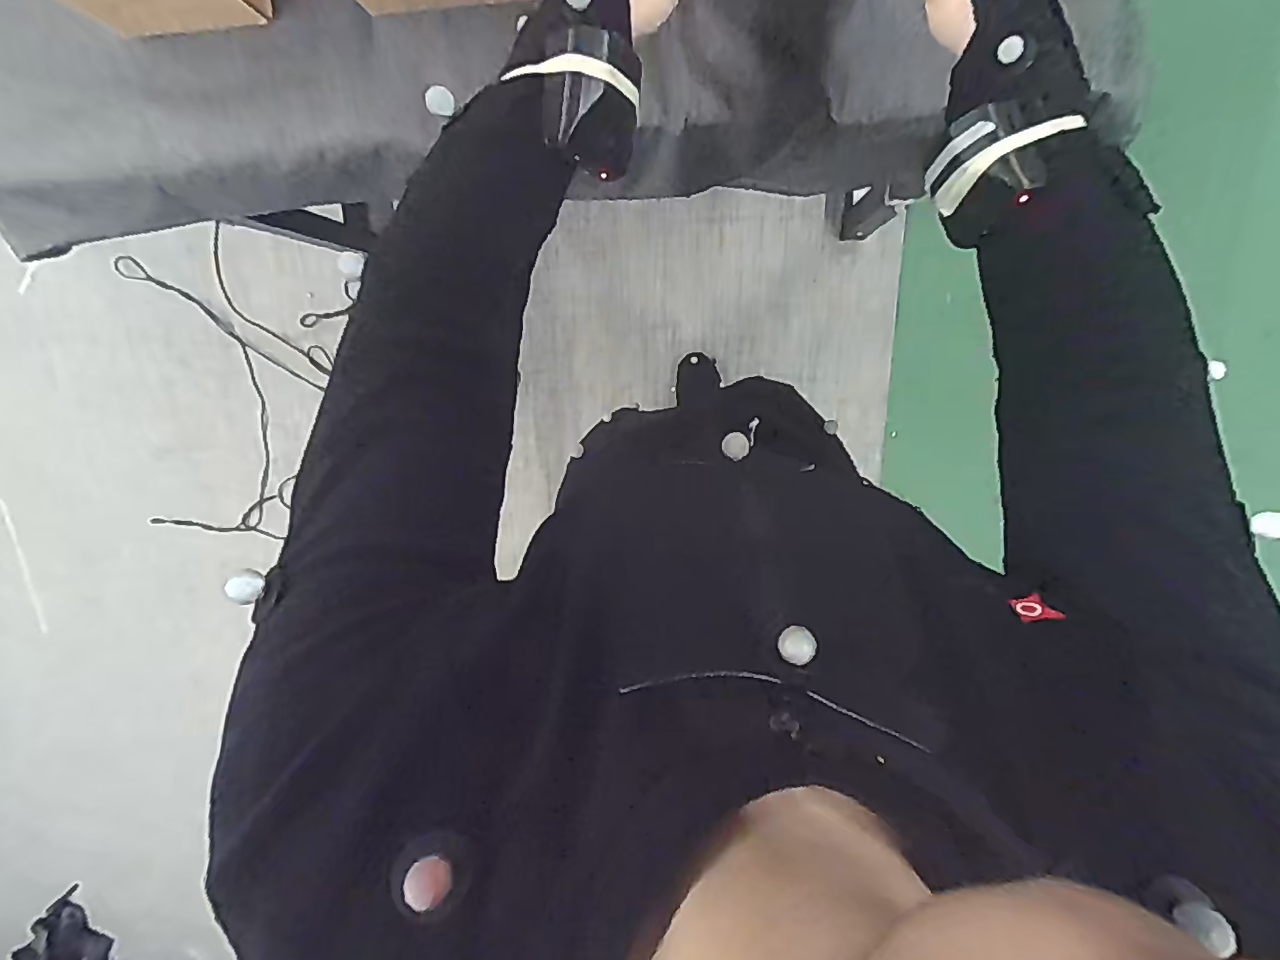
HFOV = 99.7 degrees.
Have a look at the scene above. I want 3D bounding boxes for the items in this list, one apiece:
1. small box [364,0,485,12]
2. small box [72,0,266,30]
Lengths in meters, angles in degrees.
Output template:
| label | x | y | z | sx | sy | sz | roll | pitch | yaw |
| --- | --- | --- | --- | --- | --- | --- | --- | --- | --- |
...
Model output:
| label | x | y | z | sx | sy | sz | roll | pitch | yaw |
| --- | --- | --- | --- | --- | --- | --- | --- | --- | --- |
| small box | -0.197 | -0.527 | 0.435 | 0.179 | 0.176 | 0.168 | 0 | 102 | 8 |
| small box | -0.476 | -0.533 | 0.469 | 0.179 | 0.176 | 0.168 | -1 | 103 | 6 |
